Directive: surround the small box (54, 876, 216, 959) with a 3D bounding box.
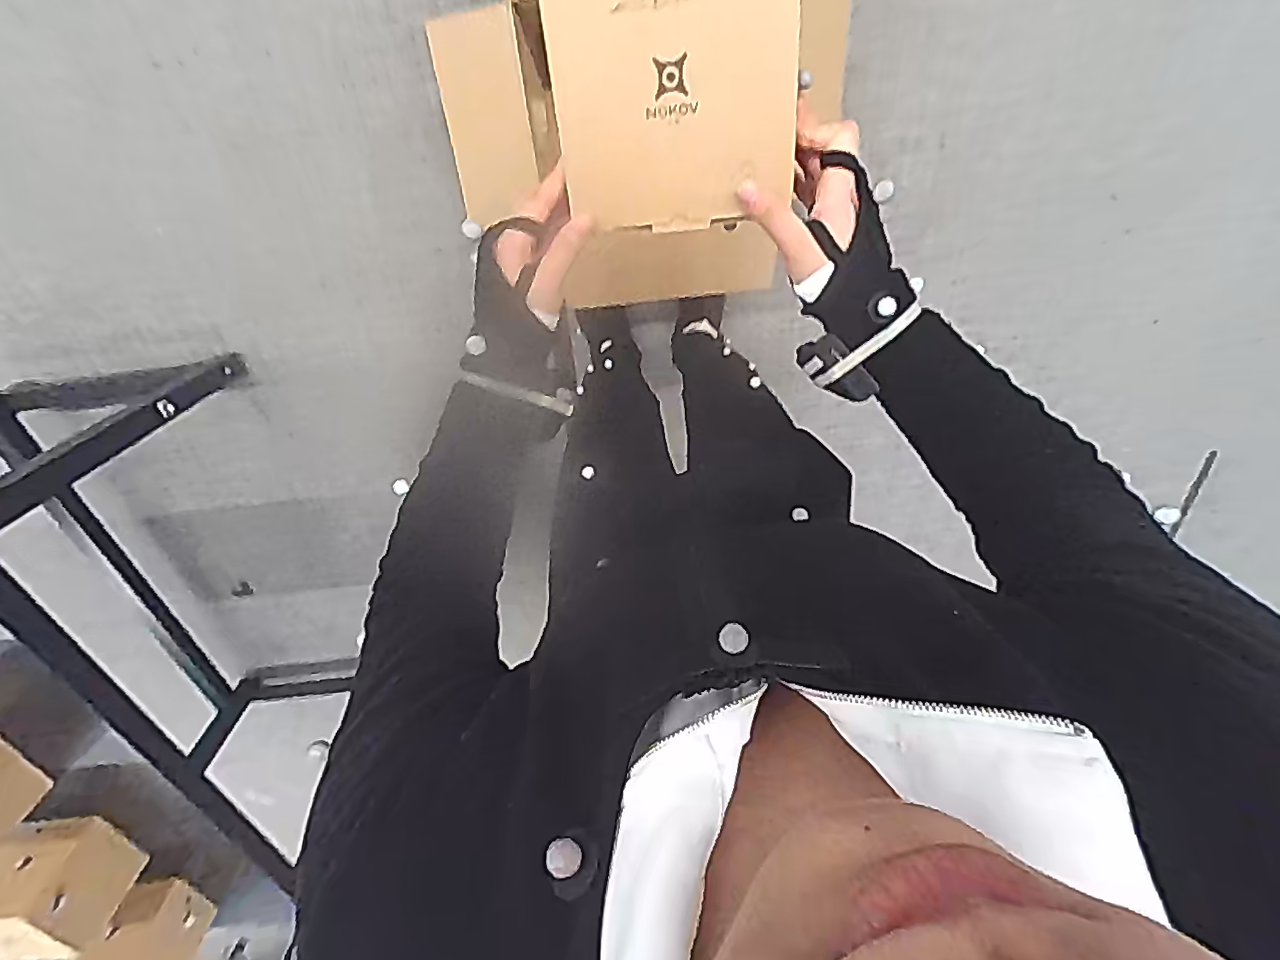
[{"bbox_3d":[-1.091,0.998,1.177,0.179,0.176,0.168,-8,122,2],"label":"small box"}]

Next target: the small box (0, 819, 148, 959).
[{"bbox_3d":[-1.121,0.774,1.035,0.168,0.176,0.179,-6,122,2],"label":"small box"}]

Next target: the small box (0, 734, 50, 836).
[{"bbox_3d":[-1.153,0.527,0.880,0.168,0.176,0.179,-5,123,1],"label":"small box"}]
